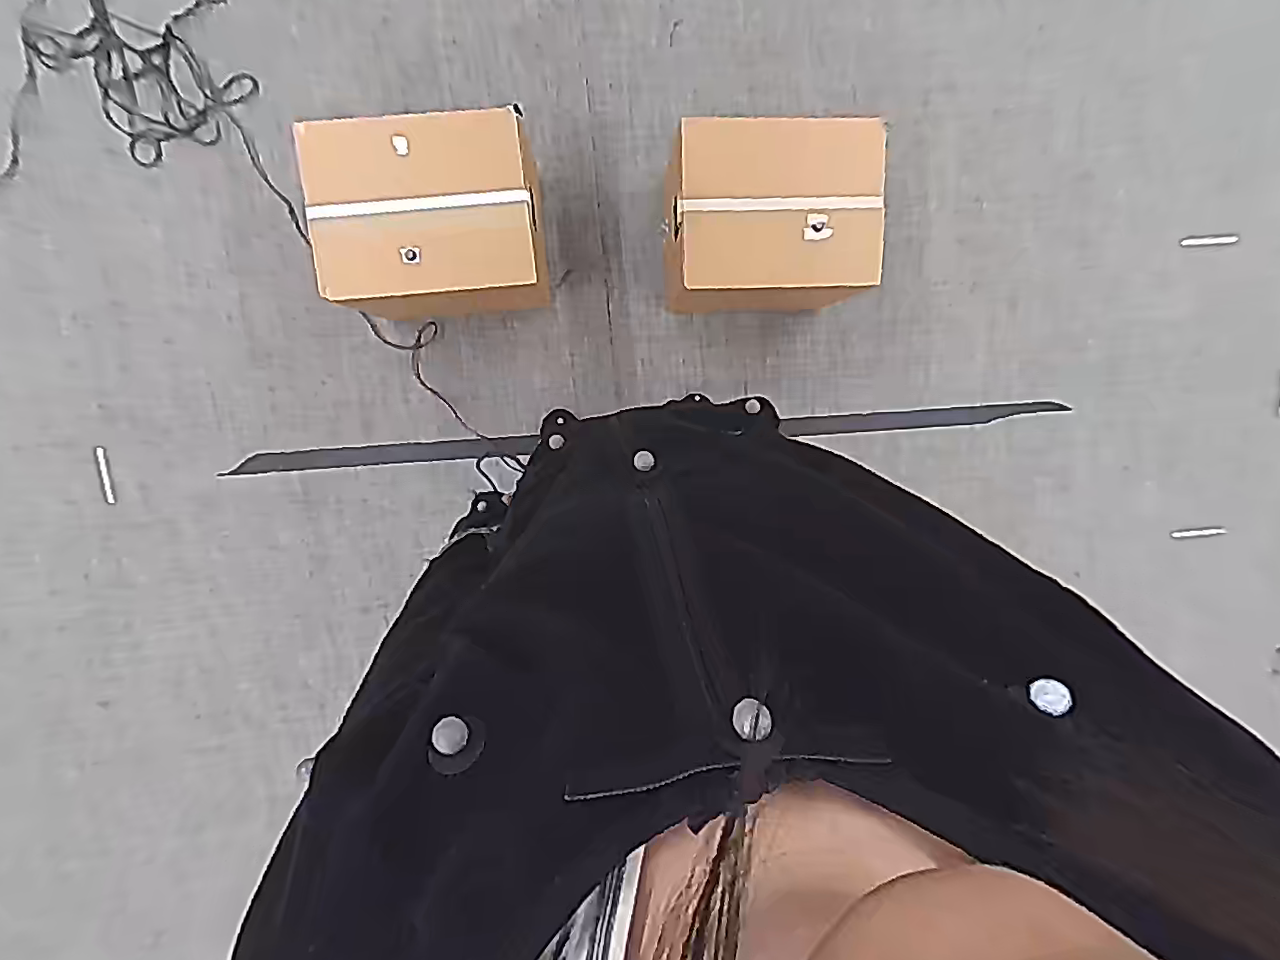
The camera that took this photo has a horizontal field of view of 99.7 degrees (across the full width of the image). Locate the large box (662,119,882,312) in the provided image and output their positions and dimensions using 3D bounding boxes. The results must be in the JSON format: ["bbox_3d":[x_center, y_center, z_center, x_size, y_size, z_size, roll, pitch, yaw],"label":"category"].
[{"bbox_3d":[0.270,-0.565,1.212,0.408,0.320,0.320,-2,99,-5],"label":"large box"}]
